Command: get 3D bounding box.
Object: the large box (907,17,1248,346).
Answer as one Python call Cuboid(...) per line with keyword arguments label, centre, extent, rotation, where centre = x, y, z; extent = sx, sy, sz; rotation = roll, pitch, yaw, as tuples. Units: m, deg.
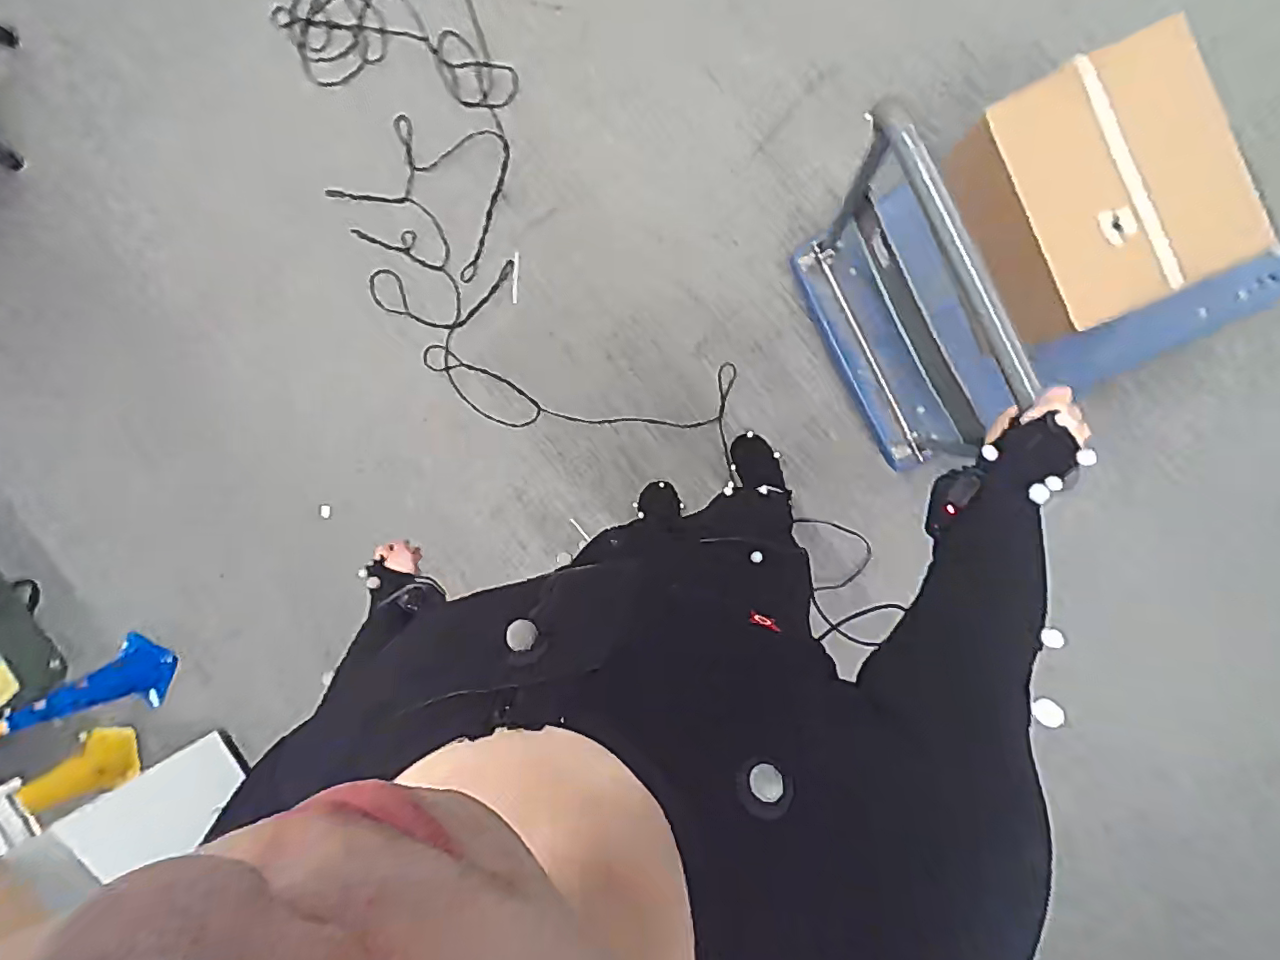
Cuboid(label="large box", centre=(0.792, -0.525, 1.045), extent=(0.320, 0.320, 0.408), rotation=(-24, 92, 9))
